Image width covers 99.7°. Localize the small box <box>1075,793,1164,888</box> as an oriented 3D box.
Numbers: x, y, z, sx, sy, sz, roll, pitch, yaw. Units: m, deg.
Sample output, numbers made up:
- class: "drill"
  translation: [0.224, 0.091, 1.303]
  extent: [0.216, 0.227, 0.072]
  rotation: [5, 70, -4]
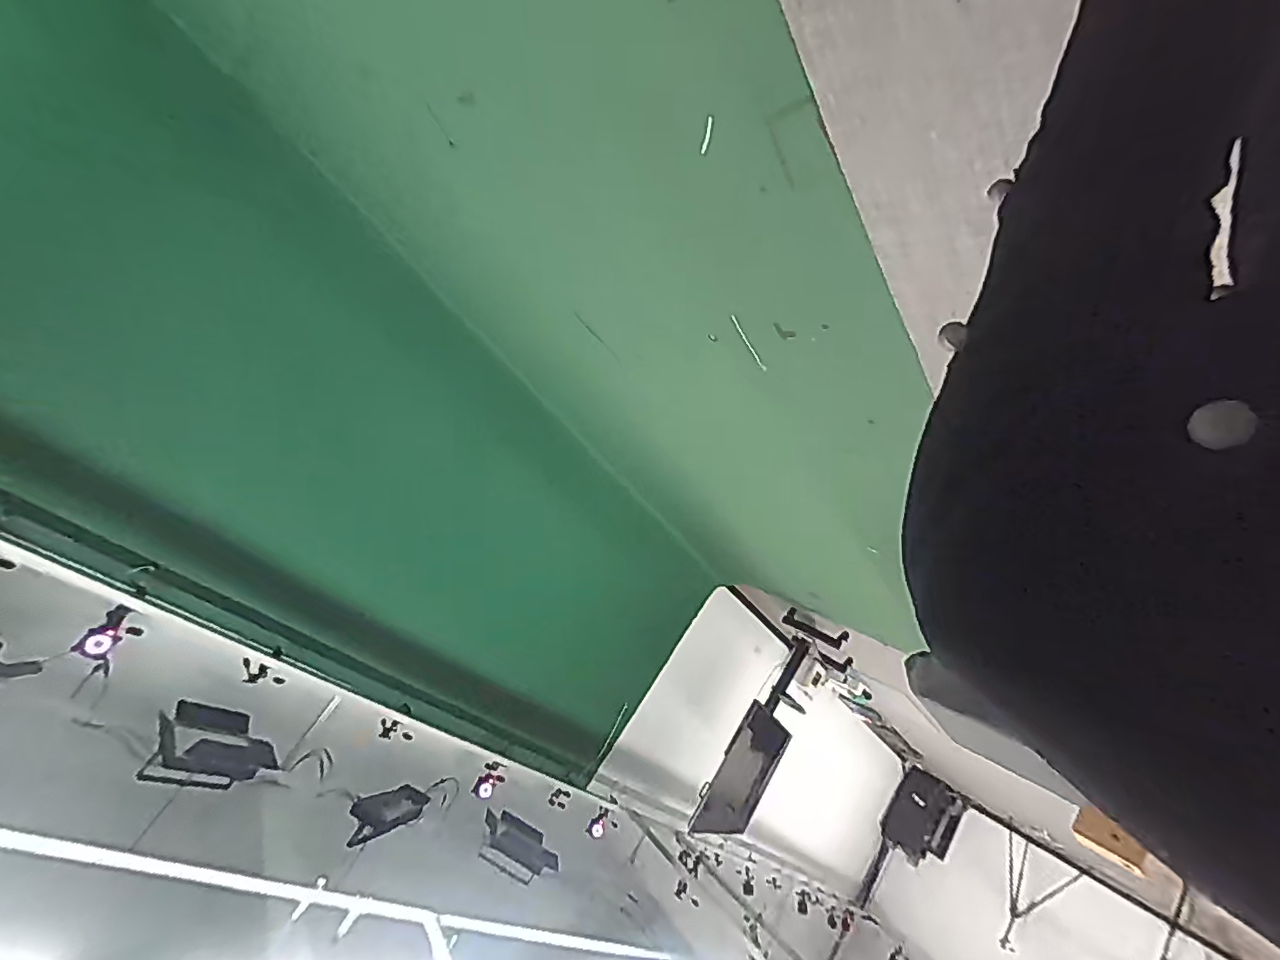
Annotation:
- class: "small box"
  translation: [1.525, 1.138, 1.715]
  extent: [0.168, 0.176, 0.179]
  rotation: [46, 163, -33]
